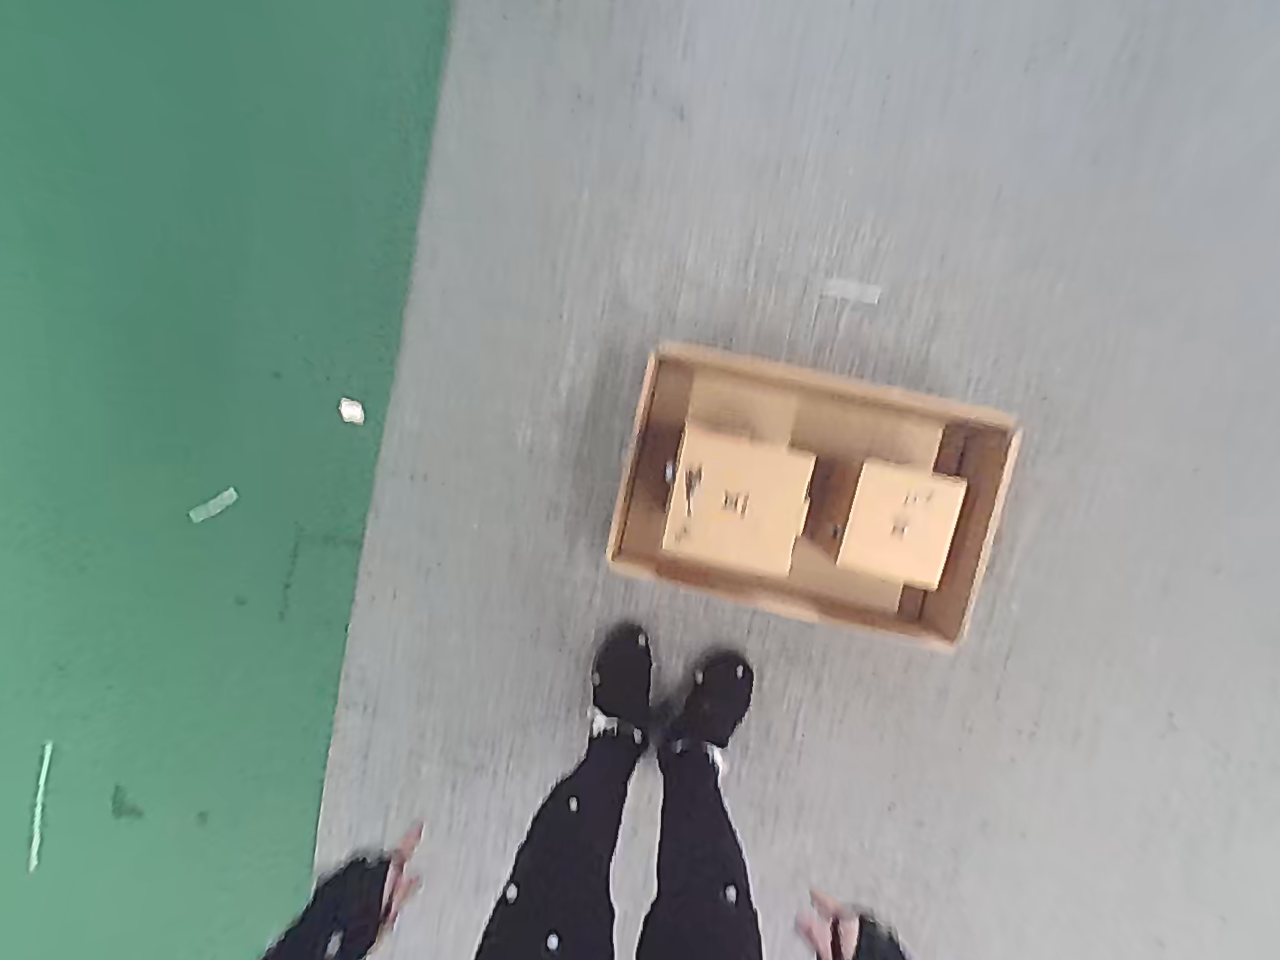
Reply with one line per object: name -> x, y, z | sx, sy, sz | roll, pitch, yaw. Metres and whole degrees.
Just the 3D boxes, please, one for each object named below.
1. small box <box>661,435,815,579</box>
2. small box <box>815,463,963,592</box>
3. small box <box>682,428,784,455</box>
small box -> 0.133, 0.032, 0.799 | 0.179, 0.176, 0.168 | 12, 92, 2
small box -> 0.420, 0.074, 0.945 | 0.168, 0.176, 0.179 | 14, 93, 3
small box -> 0.142, 0.013, 0.963 | 0.168, 0.176, 0.179 | 13, 92, 3
